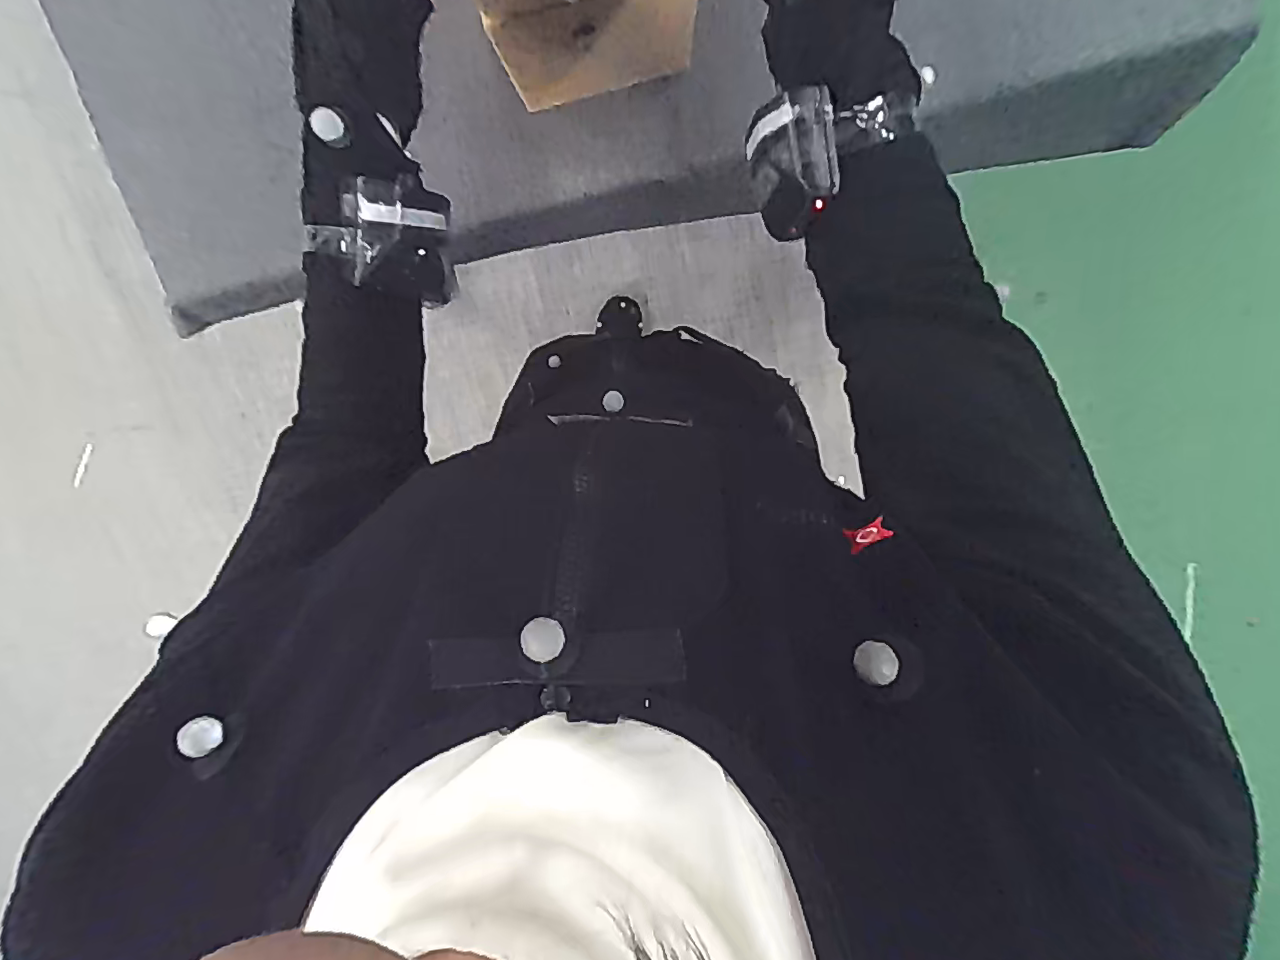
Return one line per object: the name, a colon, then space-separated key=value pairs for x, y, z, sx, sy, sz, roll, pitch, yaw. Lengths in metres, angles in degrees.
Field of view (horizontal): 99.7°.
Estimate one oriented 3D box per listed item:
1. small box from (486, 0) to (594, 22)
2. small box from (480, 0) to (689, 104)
small box: x=-0.060 y=-0.436 z=0.324 sx=0.168 sy=0.176 sz=0.179 roll=-10 pitch=104 yaw=6
small box: x=-0.053 y=-0.474 z=0.483 sx=0.179 sy=0.176 sz=0.168 roll=-12 pitch=104 yaw=4
